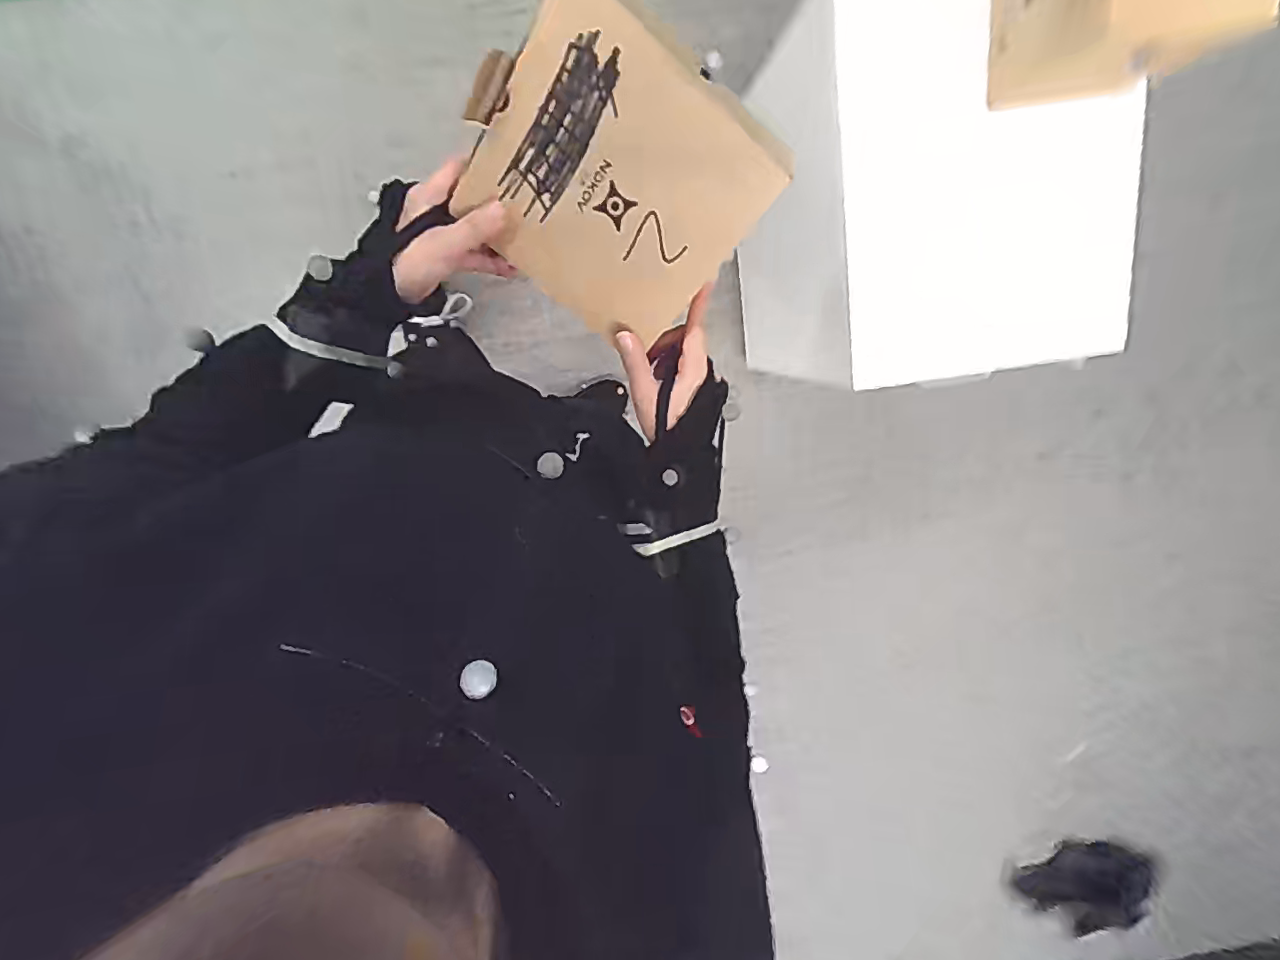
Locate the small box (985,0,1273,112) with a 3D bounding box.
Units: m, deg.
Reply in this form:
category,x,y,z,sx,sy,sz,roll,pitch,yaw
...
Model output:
category,x,y,z,sx,sy,sz,roll,pitch,yaw
small box,0.515,-0.525,0.581,0.179,0.176,0.168,-8,106,-2
